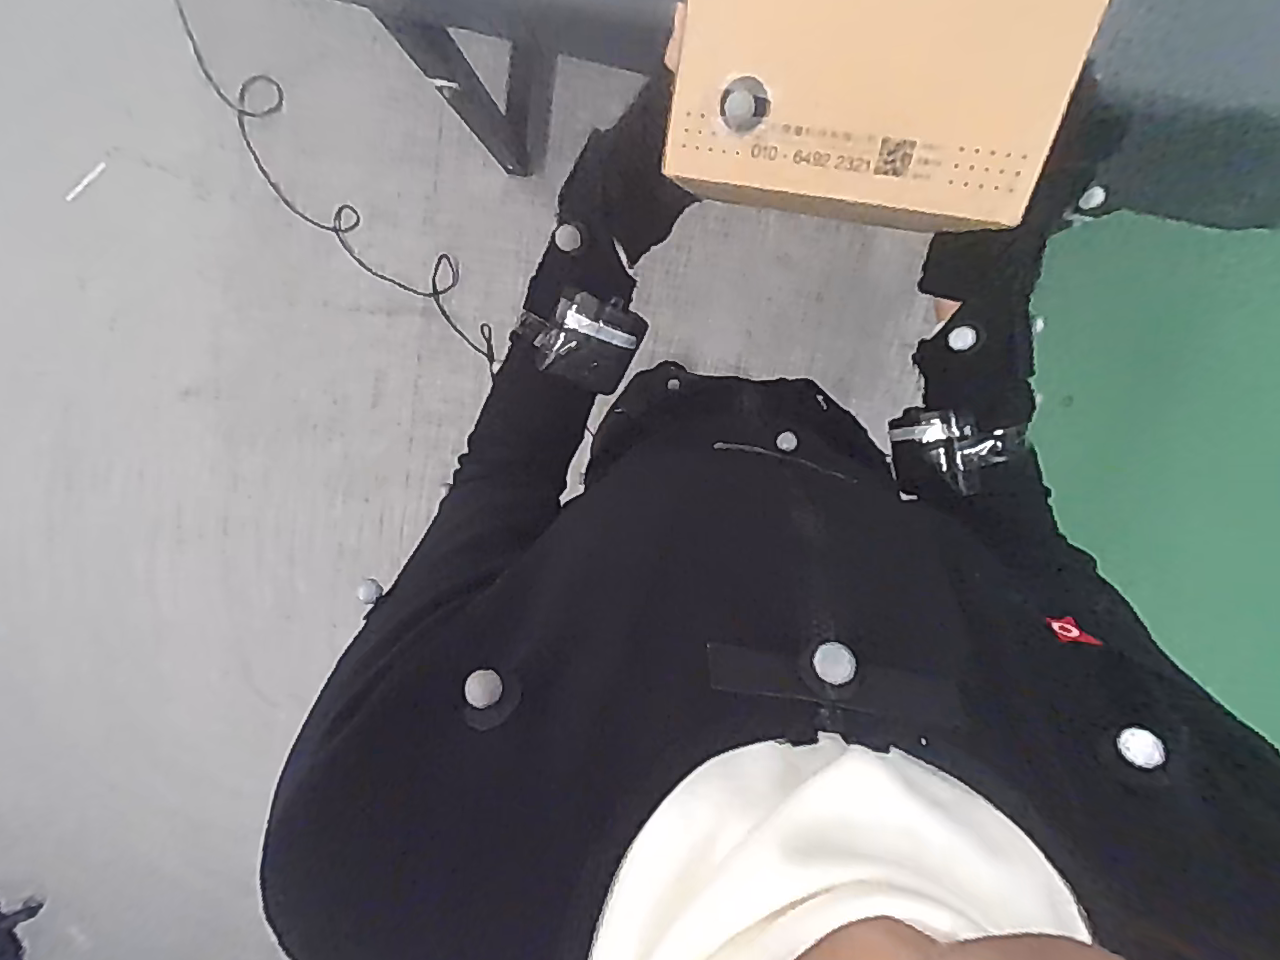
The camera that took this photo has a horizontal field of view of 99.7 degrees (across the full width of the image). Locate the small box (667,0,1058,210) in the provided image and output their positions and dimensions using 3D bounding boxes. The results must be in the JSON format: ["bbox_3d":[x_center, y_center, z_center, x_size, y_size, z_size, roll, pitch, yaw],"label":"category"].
[{"bbox_3d":[0.115,-0.254,0.301,0.168,0.179,0.176,12,115,7],"label":"small box"}]
